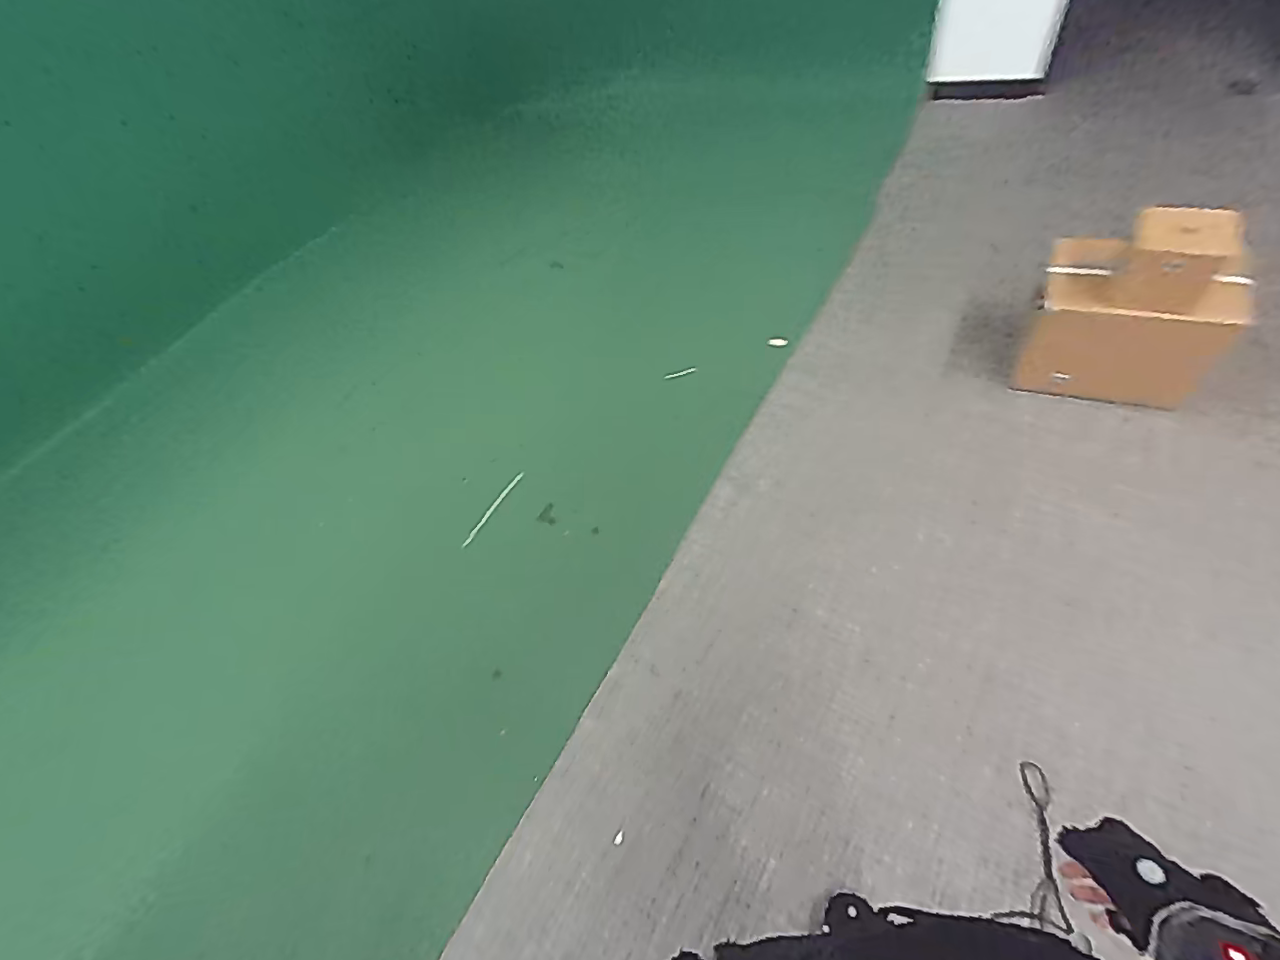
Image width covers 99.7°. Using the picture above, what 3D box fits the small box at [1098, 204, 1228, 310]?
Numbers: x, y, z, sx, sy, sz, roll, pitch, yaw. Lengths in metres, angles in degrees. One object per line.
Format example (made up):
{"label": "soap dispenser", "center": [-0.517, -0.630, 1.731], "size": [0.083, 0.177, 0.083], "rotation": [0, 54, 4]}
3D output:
{"label": "small box", "center": [1.254, -0.536, 1.306], "size": [0.179, 0.176, 0.168], "rotation": [18, 65, 24]}
